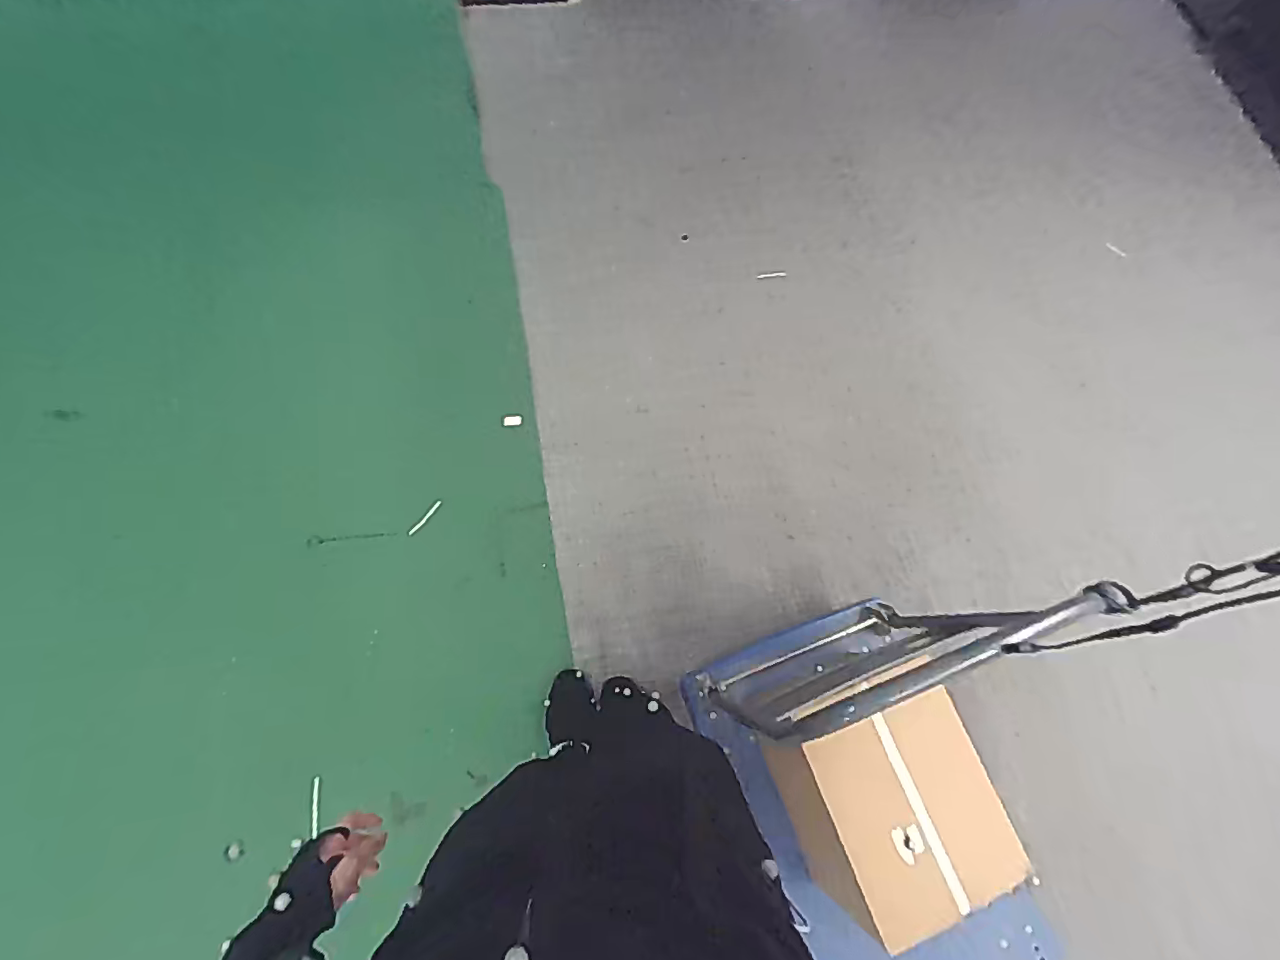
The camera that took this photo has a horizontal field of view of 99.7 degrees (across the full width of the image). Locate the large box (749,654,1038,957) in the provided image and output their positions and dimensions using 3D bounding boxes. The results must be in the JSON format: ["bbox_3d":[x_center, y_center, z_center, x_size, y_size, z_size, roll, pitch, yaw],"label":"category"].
[{"bbox_3d":[0.476,0.608,1.109,0.320,0.320,0.408,-18,76,-11],"label":"large box"}]
